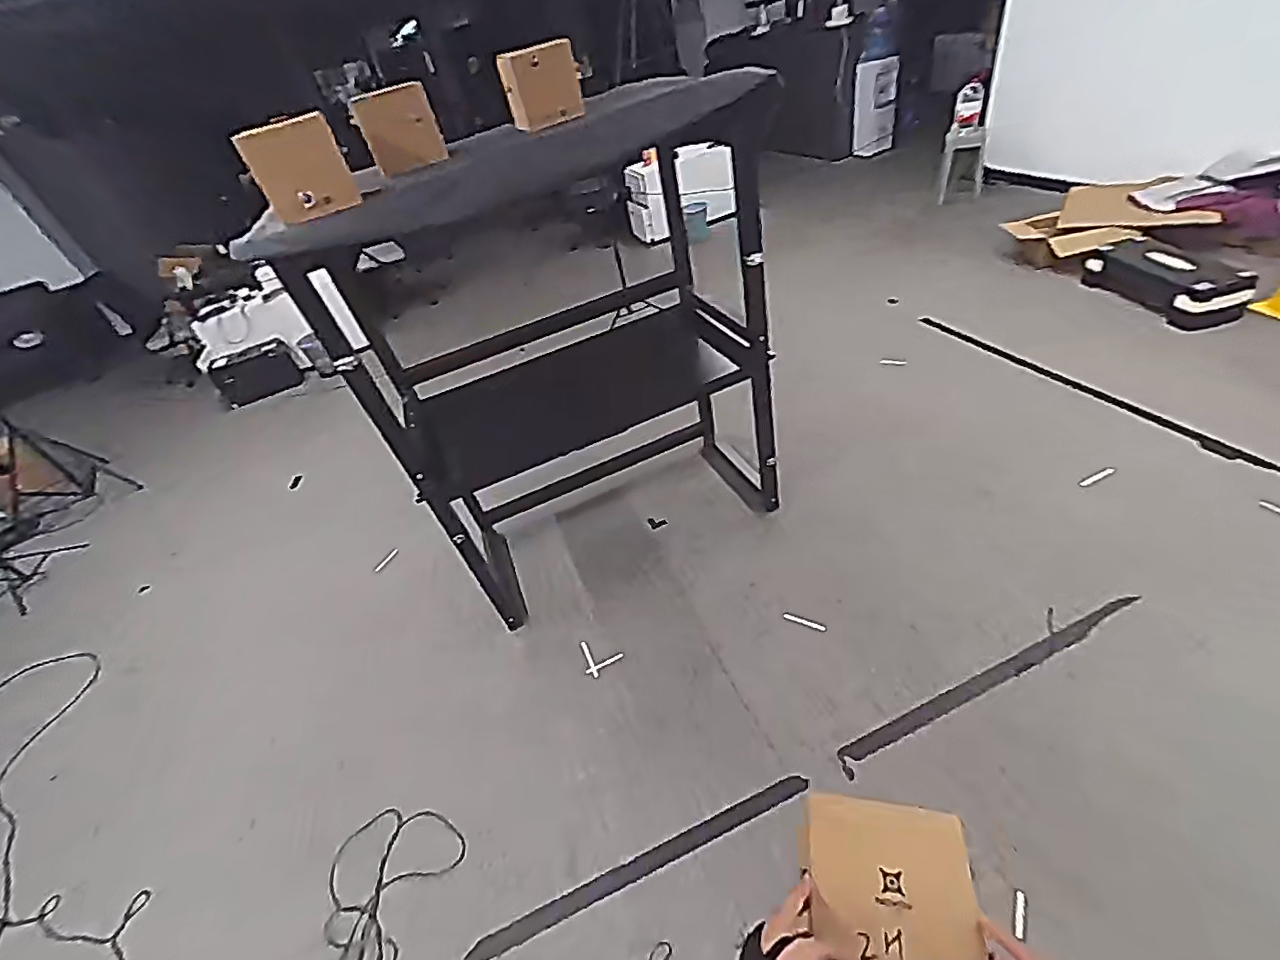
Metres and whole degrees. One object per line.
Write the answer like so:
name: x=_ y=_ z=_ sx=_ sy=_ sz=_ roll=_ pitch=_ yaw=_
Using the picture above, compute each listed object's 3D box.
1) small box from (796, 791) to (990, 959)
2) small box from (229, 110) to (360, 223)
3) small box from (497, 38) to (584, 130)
small box: x=0.270 y=0.488 z=0.615 sx=0.168 sy=0.176 sz=0.179 roll=2 pitch=43 yaw=12
small box: x=-0.711 y=-0.657 z=1.135 sx=0.168 sy=0.176 sz=0.179 roll=-25 pitch=41 yaw=-11
small box: x=-0.268 y=-1.066 z=1.462 sx=0.168 sy=0.176 sz=0.179 roll=-24 pitch=41 yaw=-9
